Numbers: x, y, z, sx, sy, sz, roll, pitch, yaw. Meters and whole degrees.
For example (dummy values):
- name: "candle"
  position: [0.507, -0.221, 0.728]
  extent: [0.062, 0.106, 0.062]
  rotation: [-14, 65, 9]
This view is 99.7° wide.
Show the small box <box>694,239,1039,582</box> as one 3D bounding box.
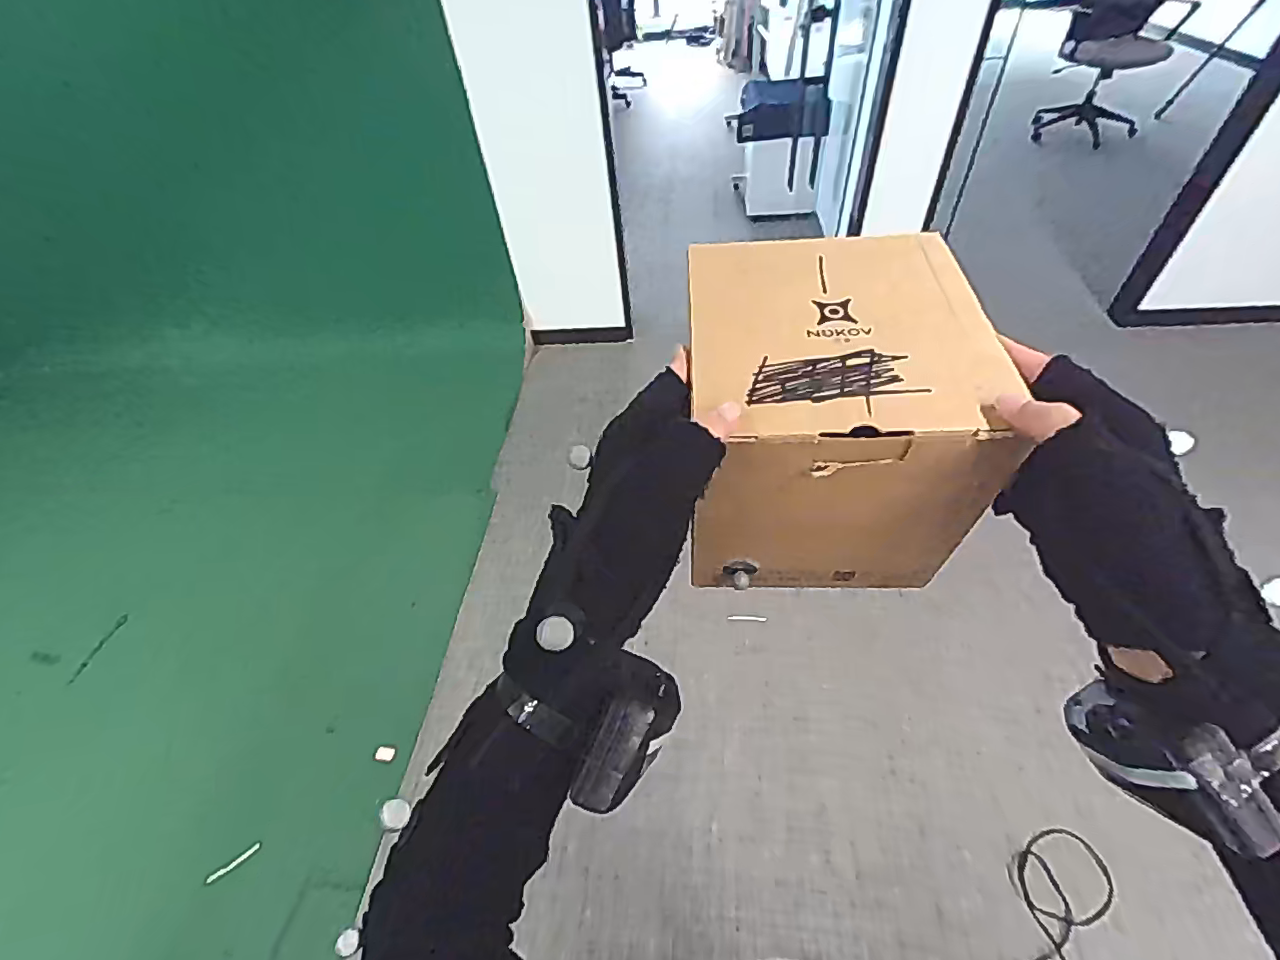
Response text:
- name: "small box"
  position: [0.122, -0.040, 0.378]
  extent: [0.168, 0.176, 0.179]
  rotation: [-1, 52, 5]
